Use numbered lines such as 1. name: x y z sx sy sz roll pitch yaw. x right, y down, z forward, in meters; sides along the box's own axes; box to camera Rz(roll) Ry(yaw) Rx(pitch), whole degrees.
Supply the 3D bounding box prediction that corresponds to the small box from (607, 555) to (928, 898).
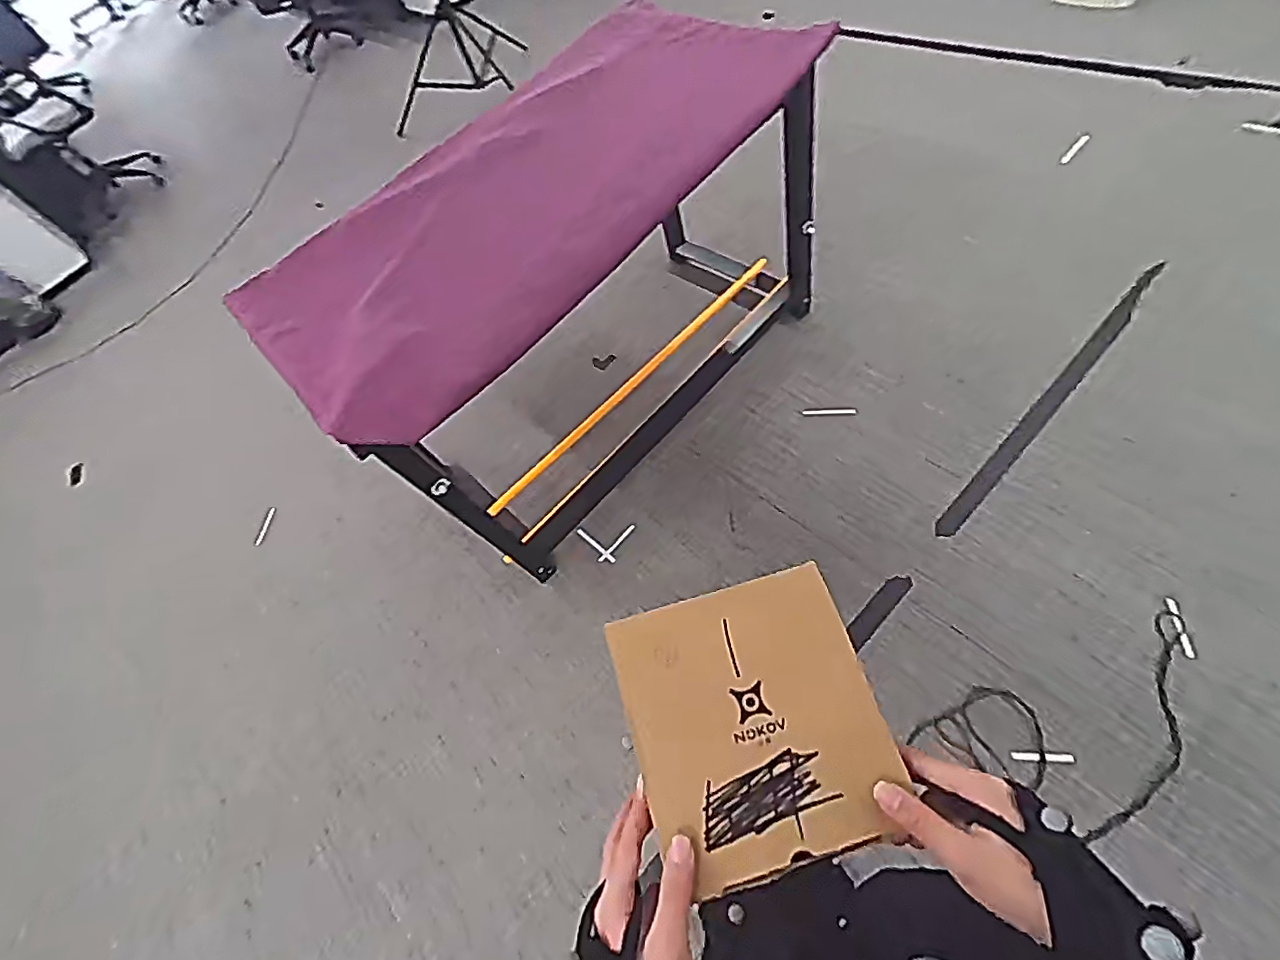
1. small box: 0.081 0.182 0.426 0.168 0.176 0.179 -15 65 -4
